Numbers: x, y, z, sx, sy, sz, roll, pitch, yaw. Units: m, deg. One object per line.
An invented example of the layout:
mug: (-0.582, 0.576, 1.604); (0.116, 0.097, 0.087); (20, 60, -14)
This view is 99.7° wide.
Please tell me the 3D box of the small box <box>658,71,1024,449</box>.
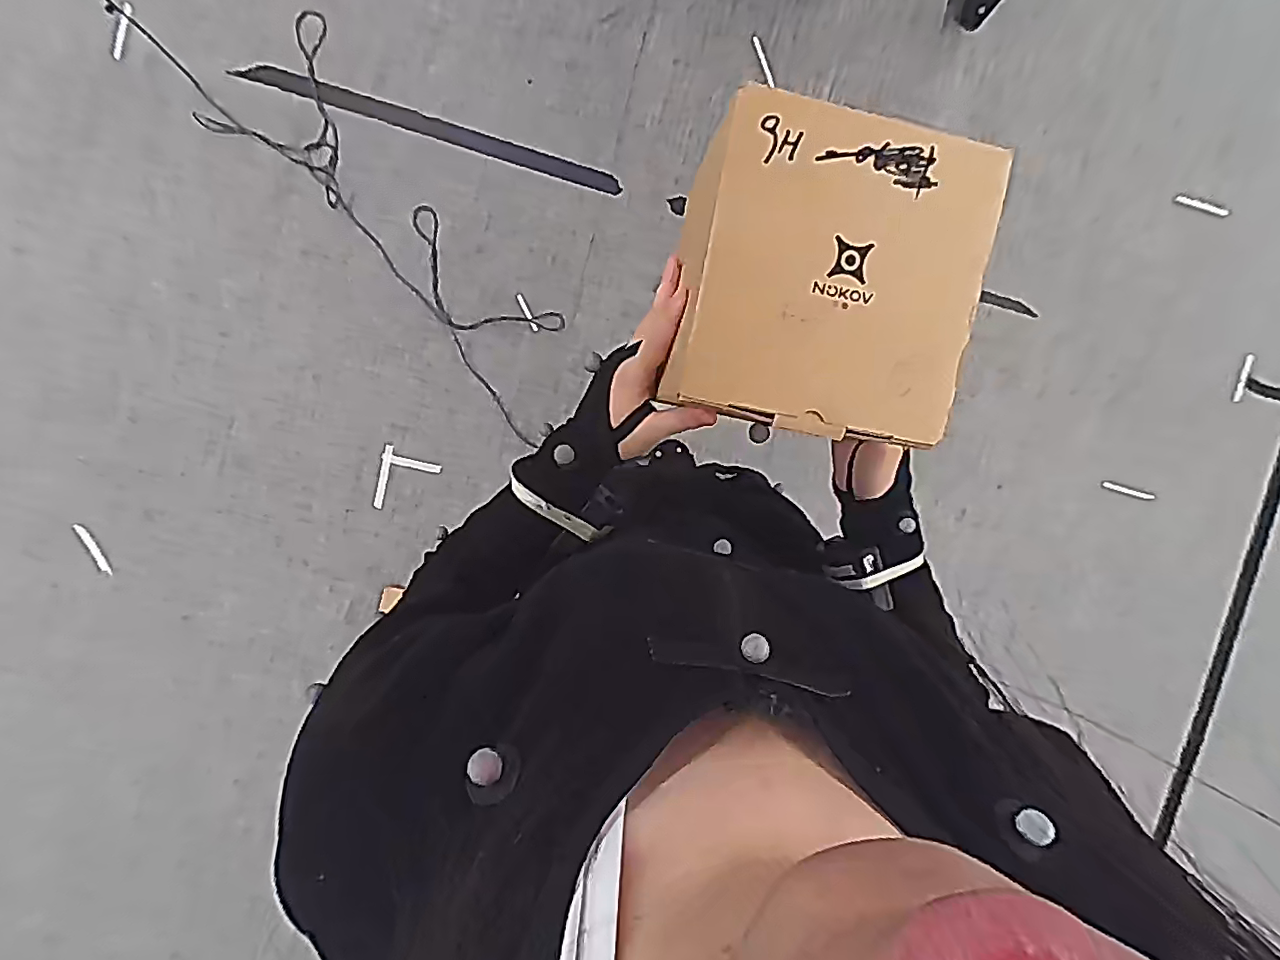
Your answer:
small box: (0.112, -0.129, 0.382); (0.168, 0.176, 0.179); (10, 98, -7)
